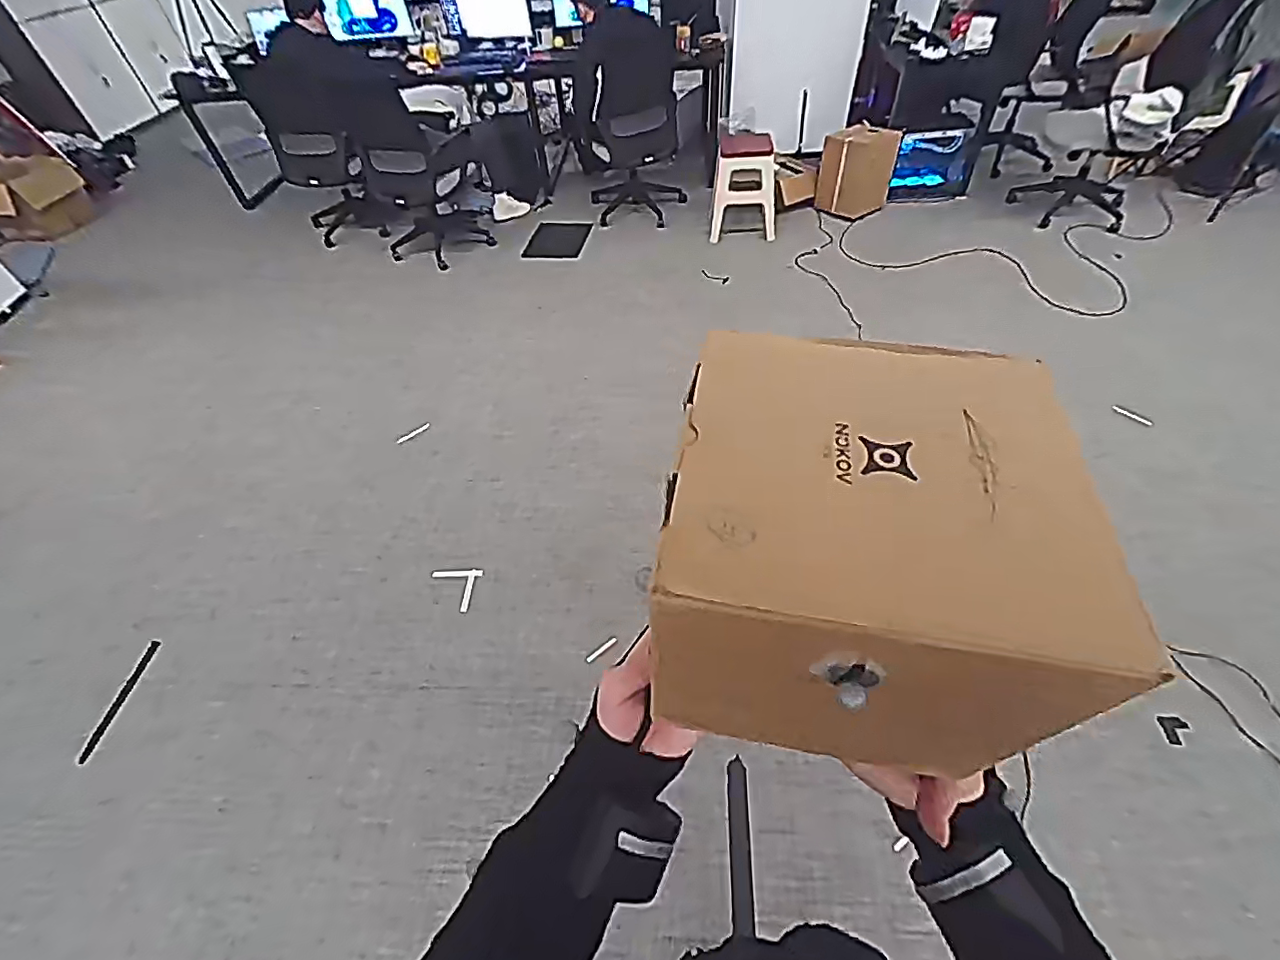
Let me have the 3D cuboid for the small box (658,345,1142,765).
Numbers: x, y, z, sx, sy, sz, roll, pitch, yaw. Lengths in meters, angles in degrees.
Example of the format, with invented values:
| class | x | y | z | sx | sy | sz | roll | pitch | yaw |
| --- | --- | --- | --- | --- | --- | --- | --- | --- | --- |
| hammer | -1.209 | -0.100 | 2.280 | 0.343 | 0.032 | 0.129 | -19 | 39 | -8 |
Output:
| class | x | y | z | sx | sy | sz | roll | pitch | yaw |
| --- | --- | --- | --- | --- | --- | --- | --- | --- | --- |
| small box | 0.108 | 0.046 | 0.311 | 0.179 | 0.176 | 0.168 | 8 | 52 | 7 |
